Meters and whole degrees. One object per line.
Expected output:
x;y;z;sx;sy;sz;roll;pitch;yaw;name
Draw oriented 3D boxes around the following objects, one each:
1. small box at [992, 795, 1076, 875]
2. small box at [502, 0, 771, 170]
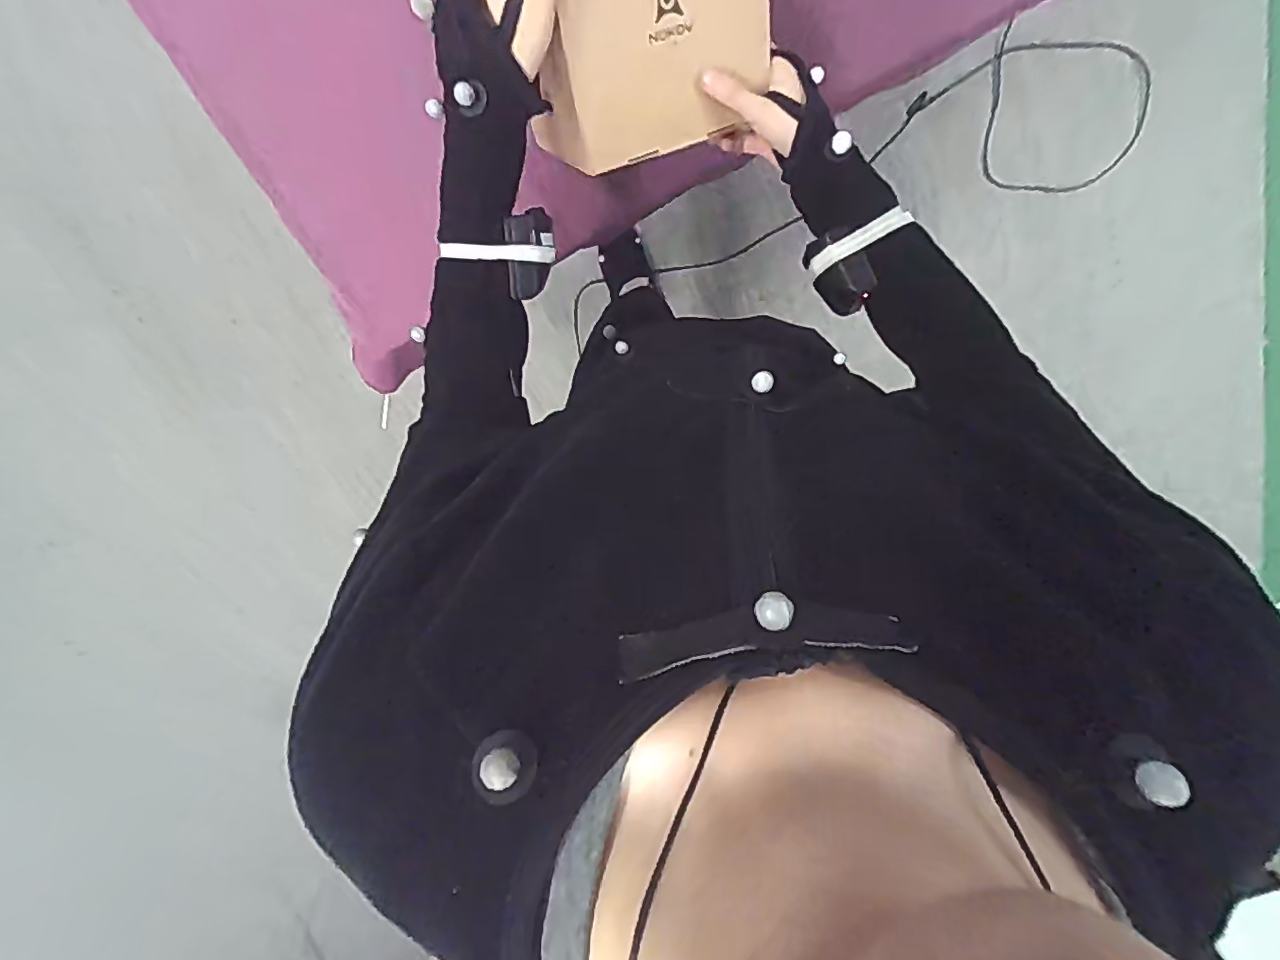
1.388;1.251;1.914;0.179;0.176;0.168;-14;114;5;small box
-0.010;-0.381;0.433;0.168;0.176;0.179;-23;135;-10;small box
